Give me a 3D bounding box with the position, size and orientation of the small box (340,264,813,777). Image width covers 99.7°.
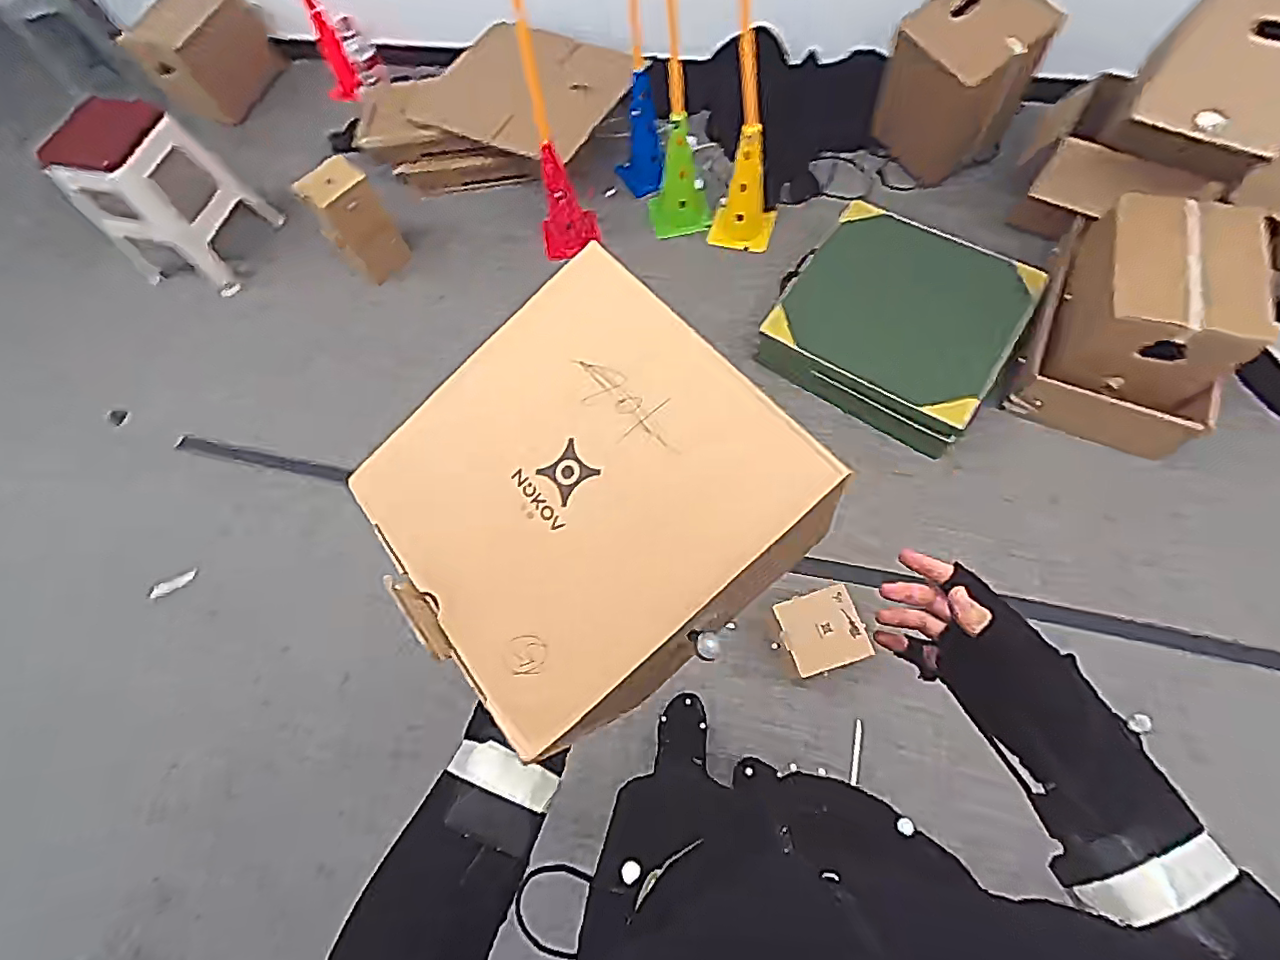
[{"bbox_3d":[-0.018,0.026,0.315,0.179,0.176,0.168,-44,70,4],"label":"small box"}]

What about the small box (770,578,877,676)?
[{"bbox_3d":[0.417,0.351,1.271,0.179,0.176,0.168,-19,67,-3],"label":"small box"}]
